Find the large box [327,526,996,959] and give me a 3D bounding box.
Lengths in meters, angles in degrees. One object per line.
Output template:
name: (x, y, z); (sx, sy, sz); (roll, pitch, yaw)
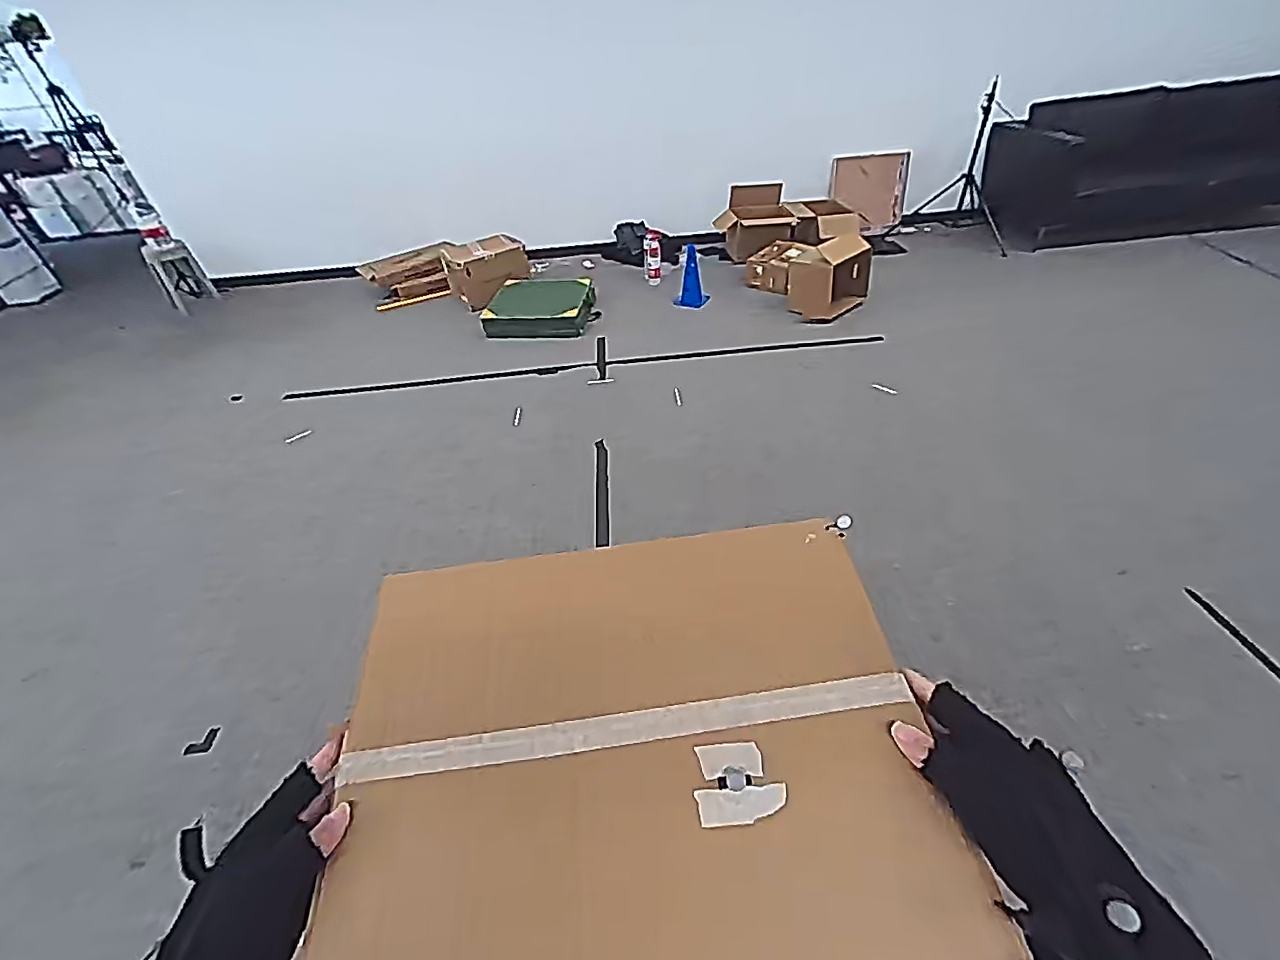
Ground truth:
large box: (0.002, 0.280, 0.513); (0.408, 0.320, 0.320); (-7, 49, -2)
